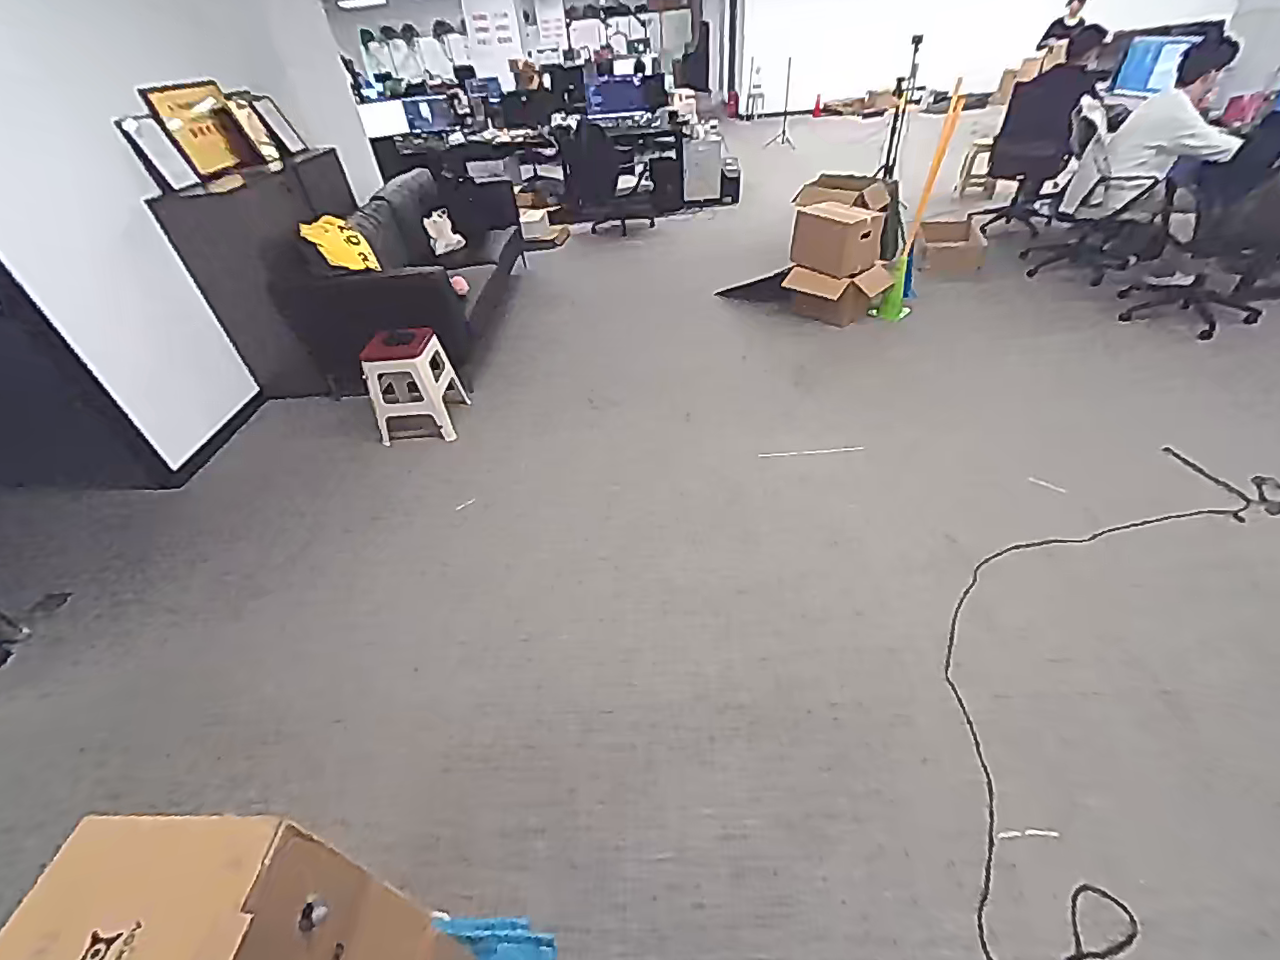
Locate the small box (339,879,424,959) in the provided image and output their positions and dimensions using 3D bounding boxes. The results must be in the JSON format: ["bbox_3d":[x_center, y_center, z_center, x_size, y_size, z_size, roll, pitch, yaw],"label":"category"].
[{"bbox_3d":[-0.328,0.493,0.503,0.179,0.176,0.168,-4,40,4],"label":"small box"}]

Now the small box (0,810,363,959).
[{"bbox_3d":[-0.345,0.367,0.401,0.179,0.176,0.168,-3,39,6],"label":"small box"}]

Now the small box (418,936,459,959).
[{"bbox_3d":[-0.316,0.622,0.601,0.179,0.176,0.168,-1,40,5],"label":"small box"}]
